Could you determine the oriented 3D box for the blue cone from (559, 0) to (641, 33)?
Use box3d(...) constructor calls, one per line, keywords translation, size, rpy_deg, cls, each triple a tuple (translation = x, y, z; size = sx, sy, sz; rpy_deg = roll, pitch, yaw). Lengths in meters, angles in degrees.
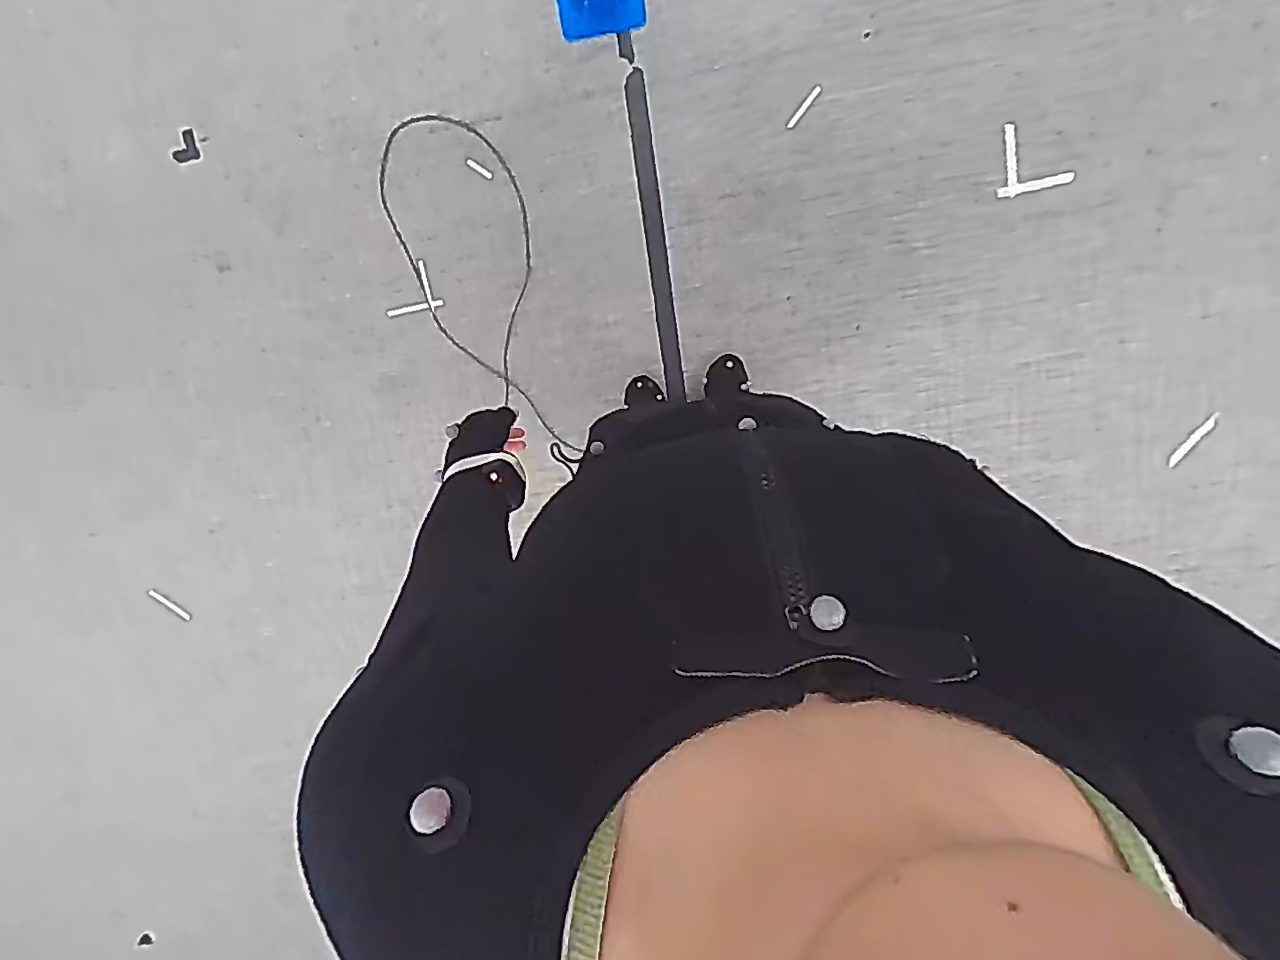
box3d(translation=(-0.107, -1.079, 1.047), size=(0.193, 0.380, 0.192), rpy_deg=(-9, 103, 5), cls="blue cone")
